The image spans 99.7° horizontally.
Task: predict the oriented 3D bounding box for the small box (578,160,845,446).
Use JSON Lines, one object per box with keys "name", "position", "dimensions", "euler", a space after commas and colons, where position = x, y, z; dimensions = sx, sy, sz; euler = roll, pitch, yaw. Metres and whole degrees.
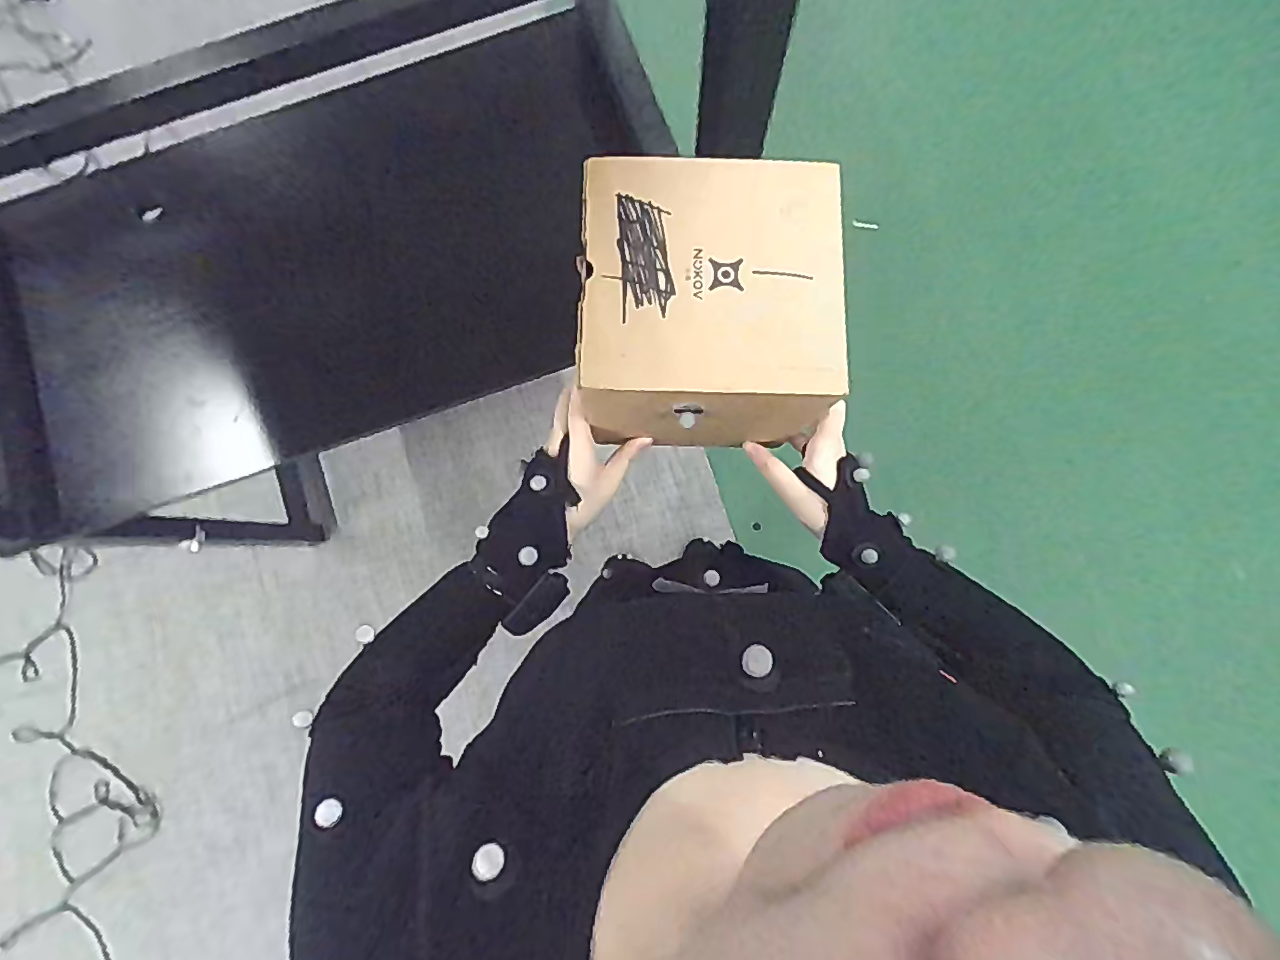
{"name": "small box", "position": [0.048, -0.125, 0.440], "dimensions": [0.179, 0.176, 0.168], "euler": [2, 82, -1]}
